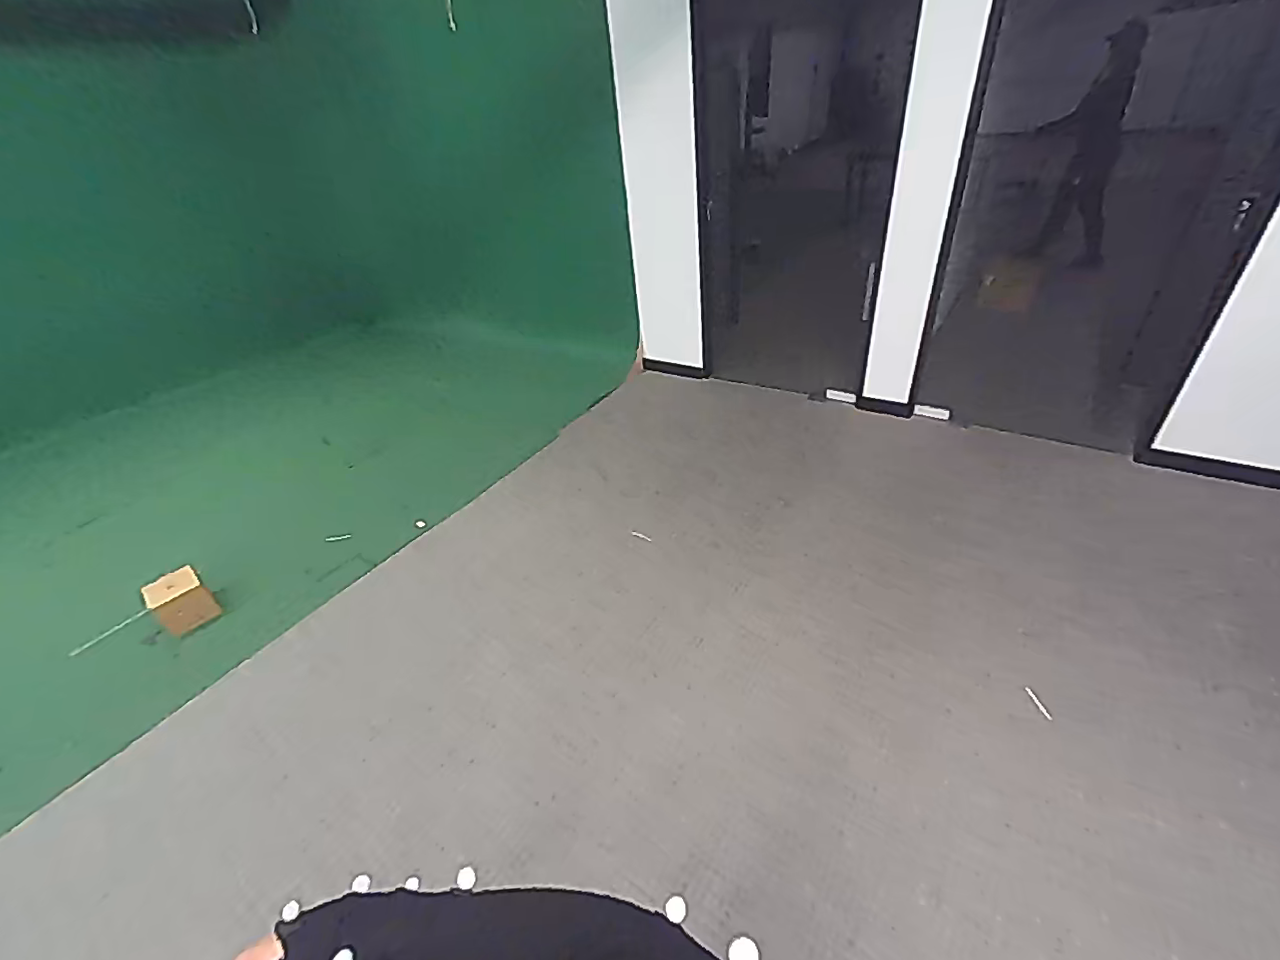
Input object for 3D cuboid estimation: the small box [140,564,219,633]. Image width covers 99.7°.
[{"bbox_3d":[-1.784,0.465,2.100,0.179,0.176,0.168,24,45,36],"label":"small box"}]
